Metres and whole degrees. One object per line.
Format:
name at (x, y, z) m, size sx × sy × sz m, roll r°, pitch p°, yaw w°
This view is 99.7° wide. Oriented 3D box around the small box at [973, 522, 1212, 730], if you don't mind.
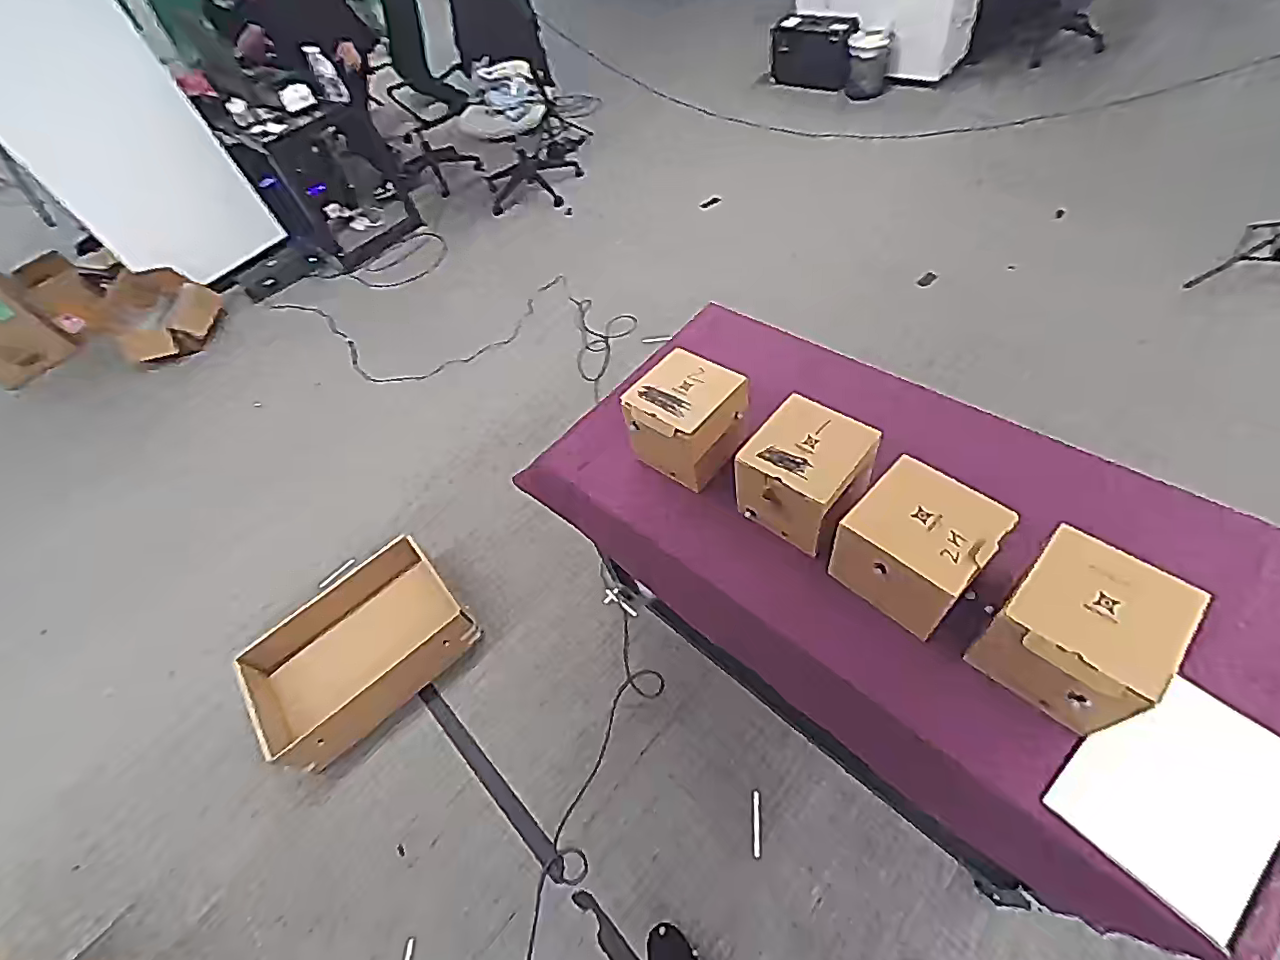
small box at (0.576, 0.197, 0.716) m, size 0.168 × 0.176 × 0.179 m, roll 35°, pitch 67°, yaw 30°
